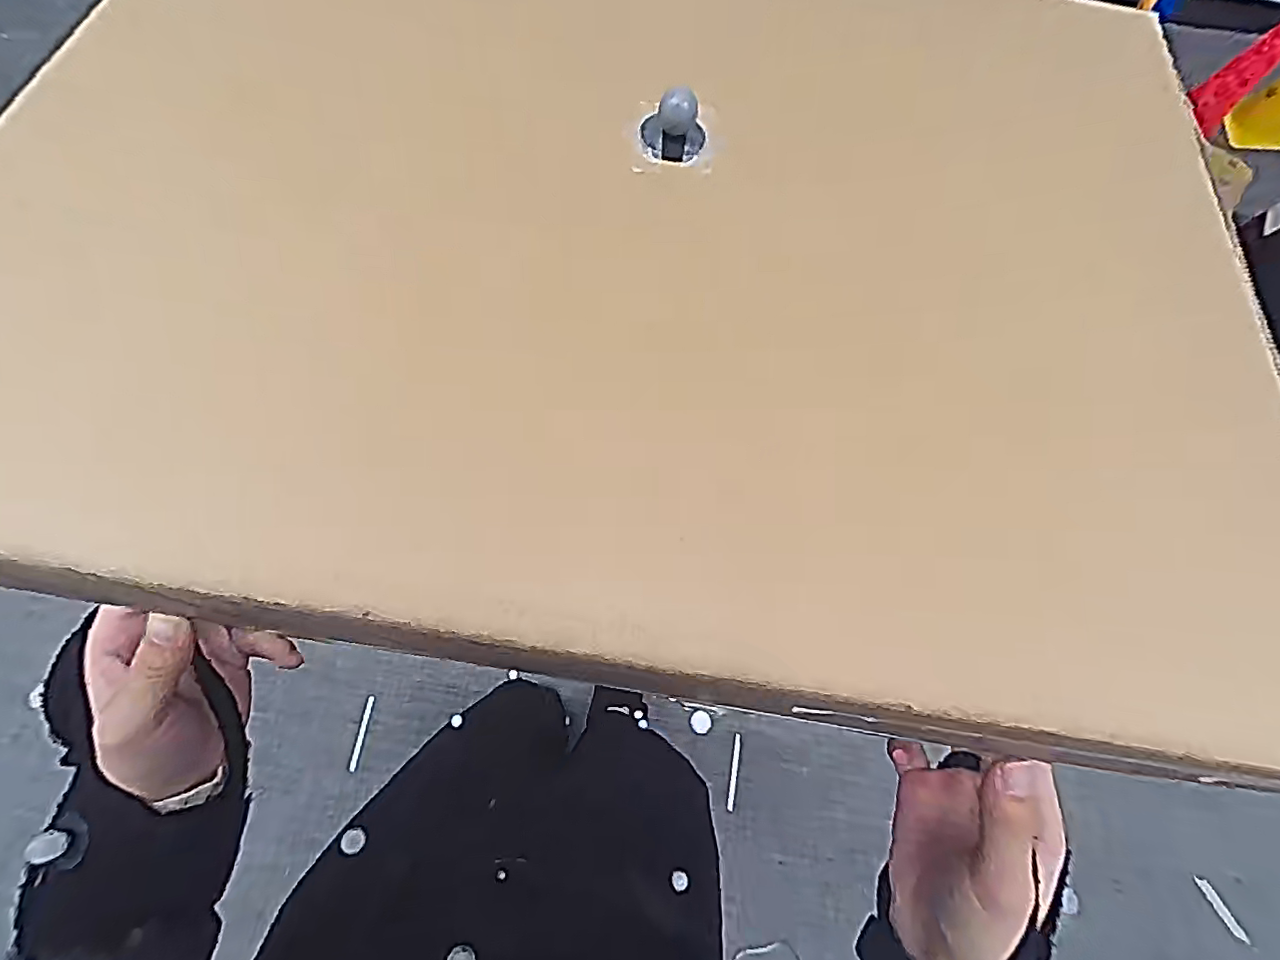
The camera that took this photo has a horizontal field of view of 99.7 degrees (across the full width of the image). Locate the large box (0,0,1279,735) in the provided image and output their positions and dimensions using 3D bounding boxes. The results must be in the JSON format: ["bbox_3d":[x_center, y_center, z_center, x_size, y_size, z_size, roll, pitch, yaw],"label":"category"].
[{"bbox_3d":[-0.003,-0.057,0.319,0.408,0.320,0.320,9,69,0],"label":"large box"}]
